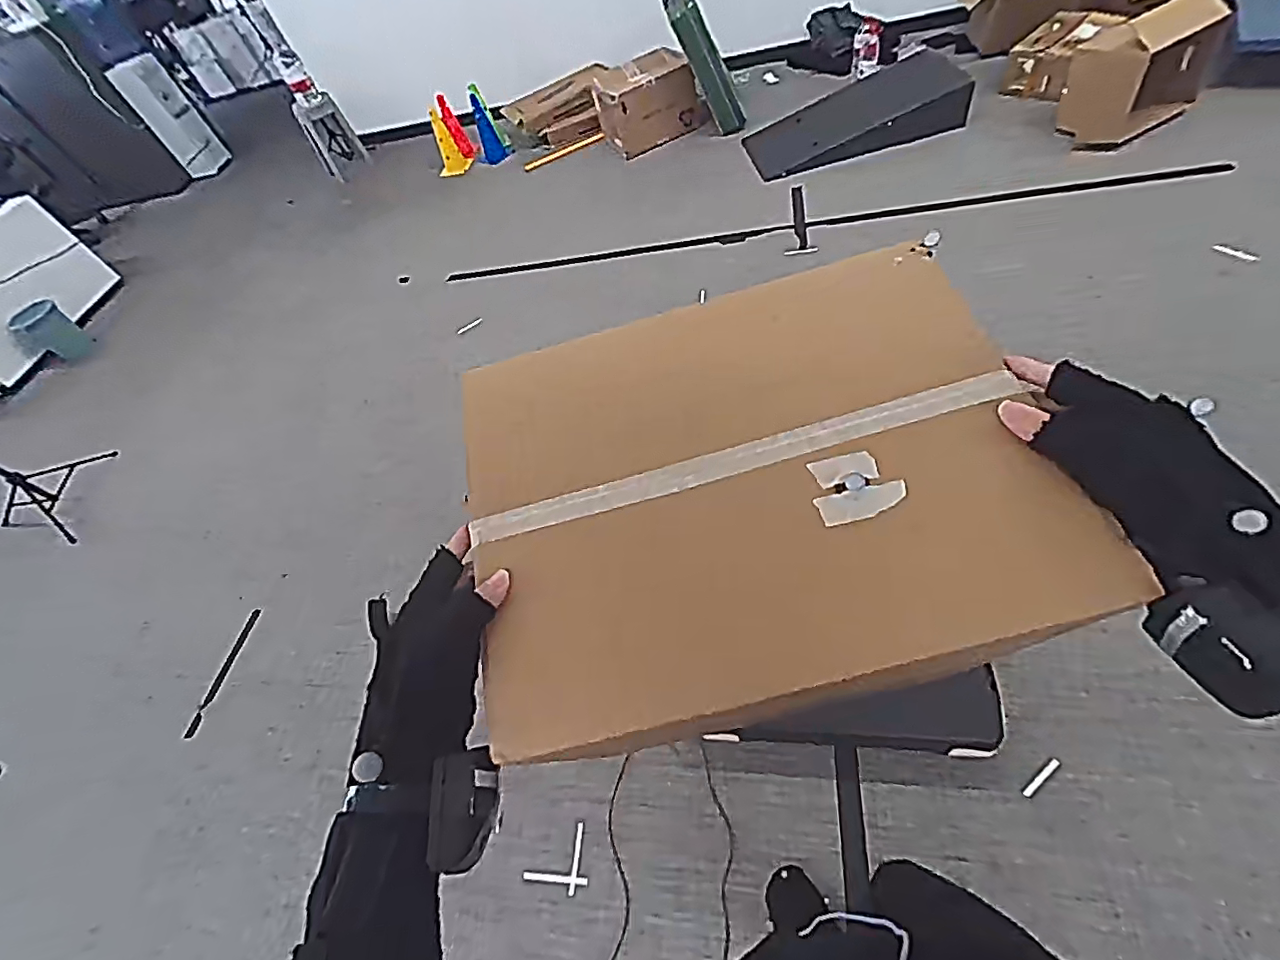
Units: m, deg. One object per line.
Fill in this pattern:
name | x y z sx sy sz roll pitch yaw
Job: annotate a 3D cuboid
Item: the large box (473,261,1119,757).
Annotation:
large box | 0.096 0.058 0.539 0.408 0.320 0.320 -16 62 2
